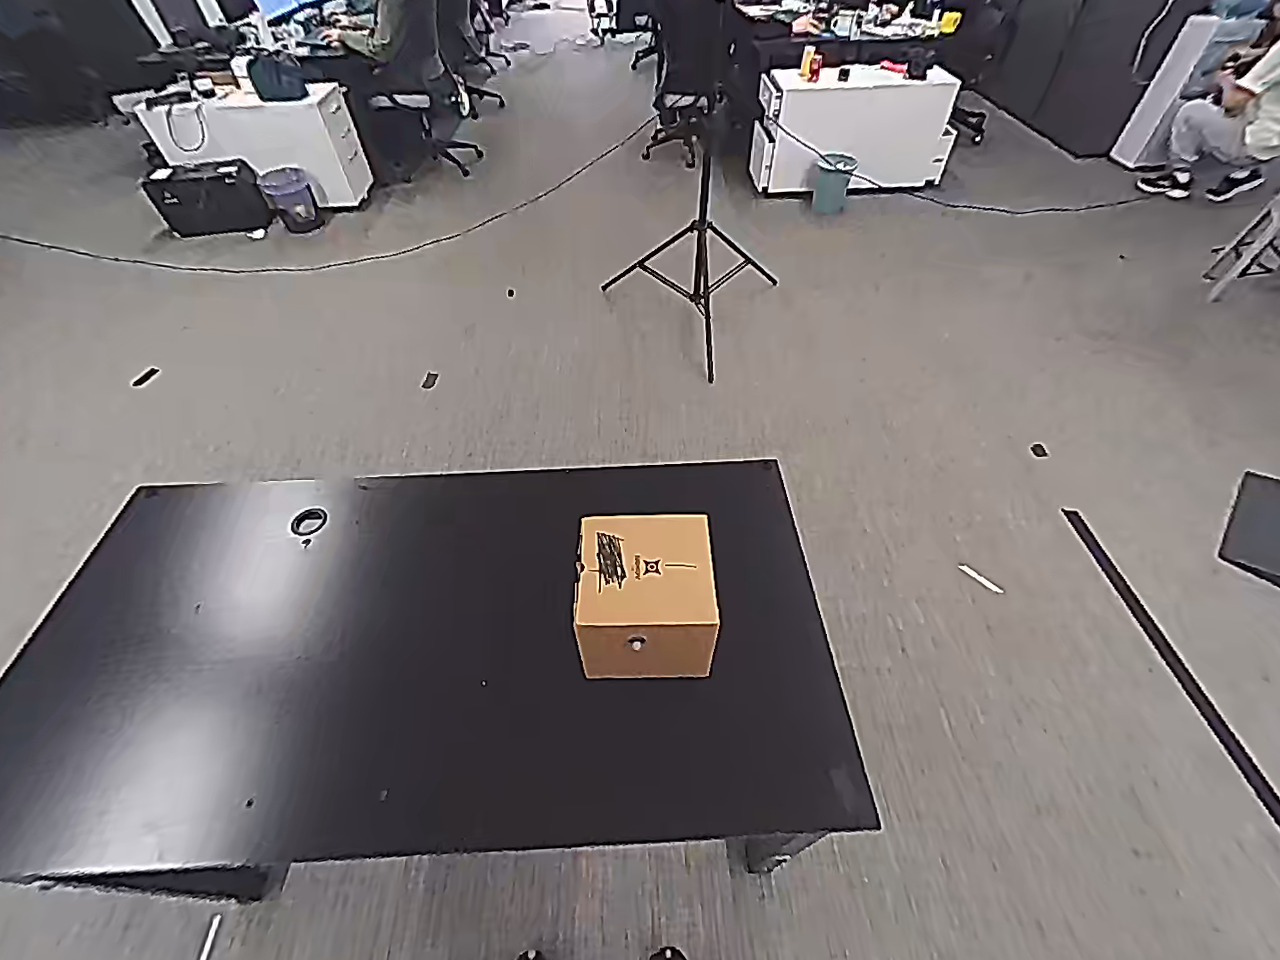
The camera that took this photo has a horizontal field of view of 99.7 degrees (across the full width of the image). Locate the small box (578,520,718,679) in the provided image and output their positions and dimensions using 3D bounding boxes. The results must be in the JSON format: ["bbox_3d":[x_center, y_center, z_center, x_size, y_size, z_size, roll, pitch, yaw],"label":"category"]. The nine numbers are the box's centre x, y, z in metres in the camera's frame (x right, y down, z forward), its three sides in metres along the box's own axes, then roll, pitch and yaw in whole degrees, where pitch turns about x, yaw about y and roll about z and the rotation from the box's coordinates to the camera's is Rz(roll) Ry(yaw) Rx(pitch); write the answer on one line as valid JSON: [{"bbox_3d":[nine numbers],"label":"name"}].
[{"bbox_3d":[0.012,0.173,0.770,0.179,0.176,0.168,-1,49,0],"label":"small box"}]
